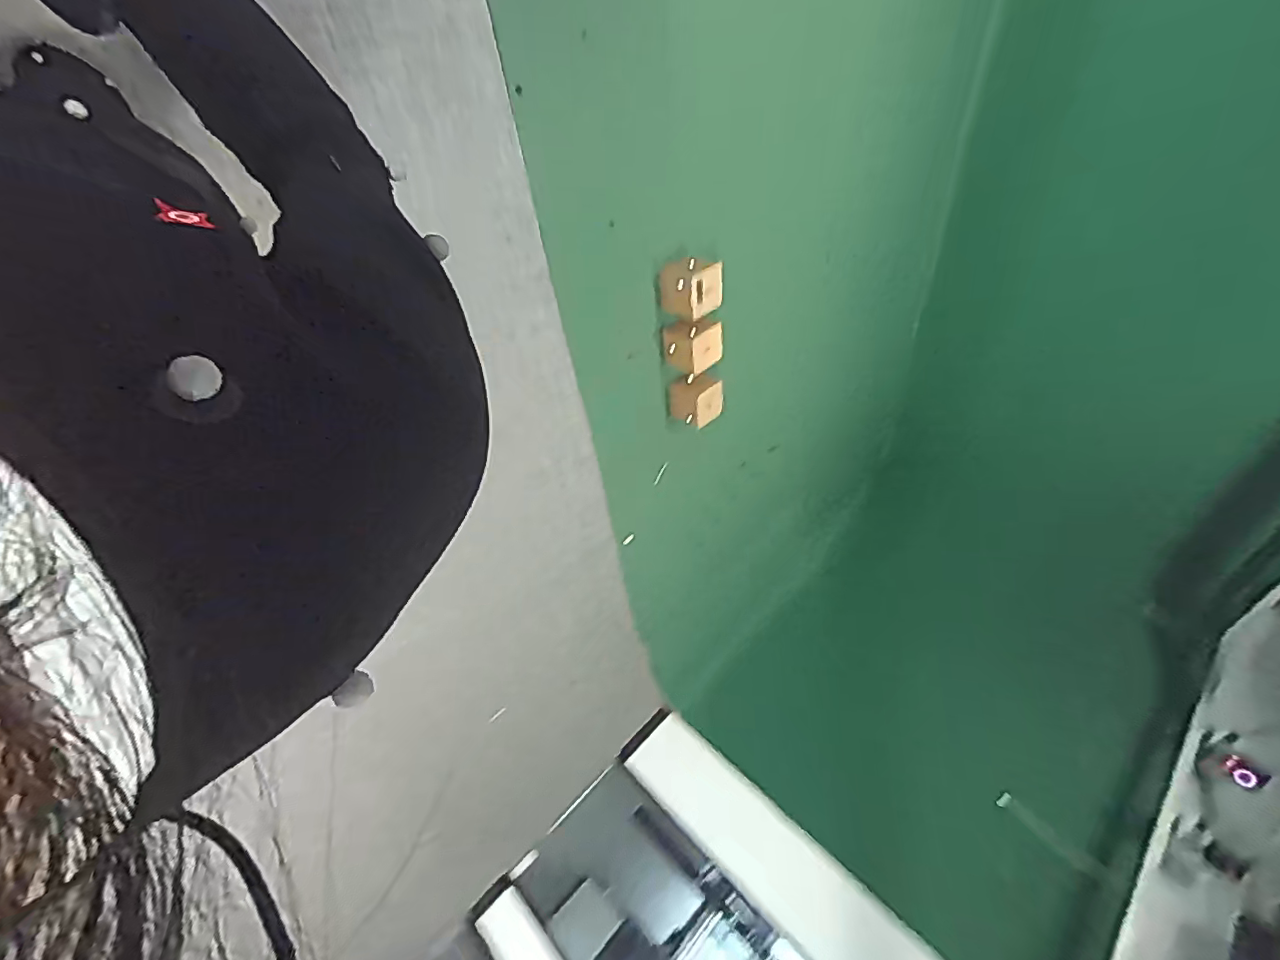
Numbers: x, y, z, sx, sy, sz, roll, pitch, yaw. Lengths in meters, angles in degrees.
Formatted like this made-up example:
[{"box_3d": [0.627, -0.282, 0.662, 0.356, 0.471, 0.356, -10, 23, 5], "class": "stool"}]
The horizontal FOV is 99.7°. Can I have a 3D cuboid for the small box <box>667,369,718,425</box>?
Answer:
[{"box_3d": [0.237, -0.385, 2.450, 0.168, 0.176, 0.179, -36, 139, -28], "class": "small box"}]

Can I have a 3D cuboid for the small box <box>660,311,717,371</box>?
[{"box_3d": [0.205, -0.588, 2.267, 0.179, 0.176, 0.168, -37, 140, -25], "class": "small box"}]
